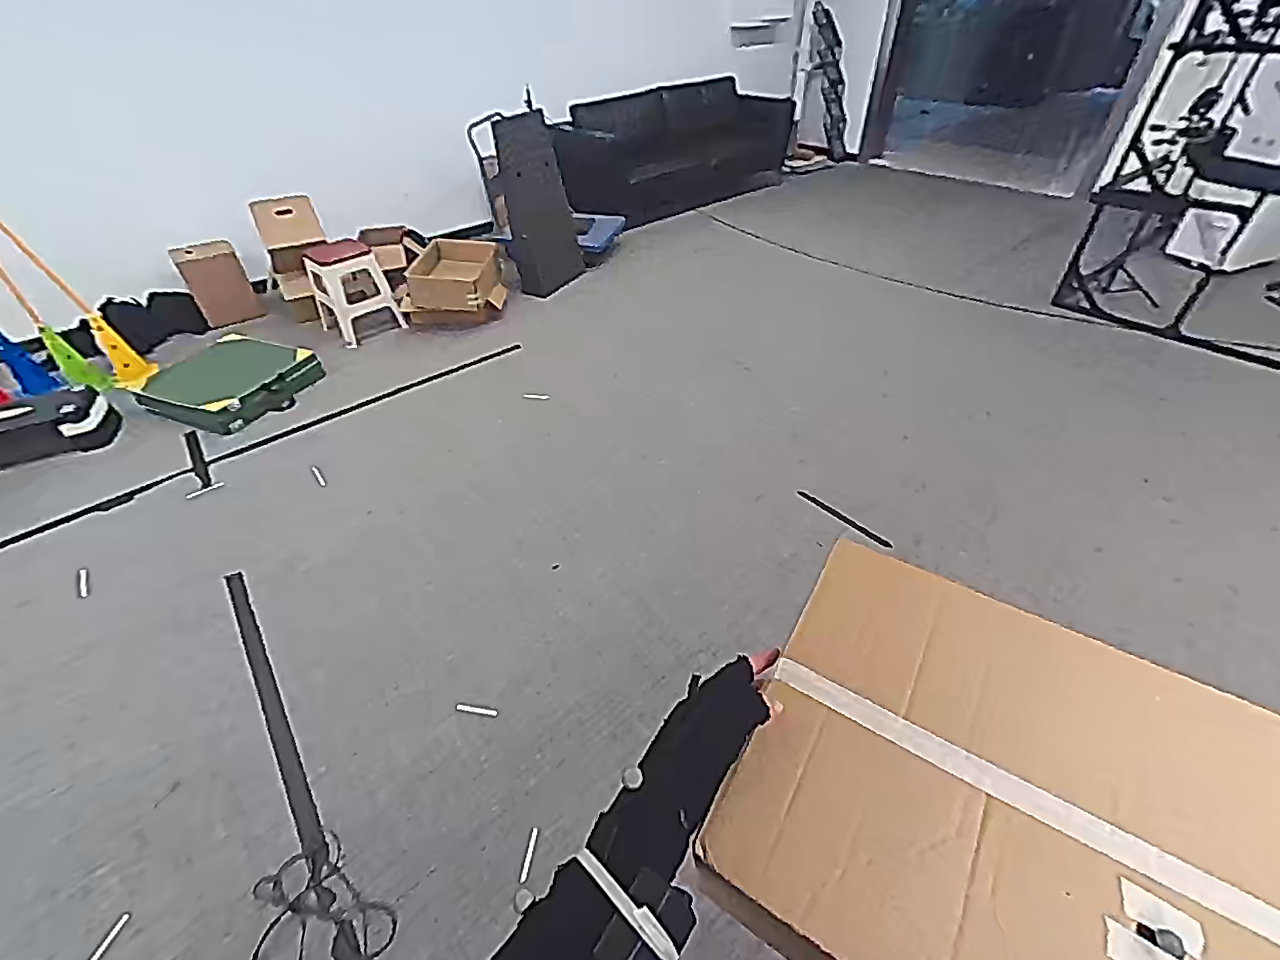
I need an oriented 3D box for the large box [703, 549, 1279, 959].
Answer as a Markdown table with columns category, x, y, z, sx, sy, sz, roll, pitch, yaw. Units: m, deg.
| category | x | y | z | sx | sy | sz | roll | pitch | yaw |
| --- | --- | --- | --- | --- | --- | --- | --- | --- | --- |
| large box | 0.304 | 0.336 | 0.513 | 0.408 | 0.320 | 0.320 | 24 | 56 | 24 |
